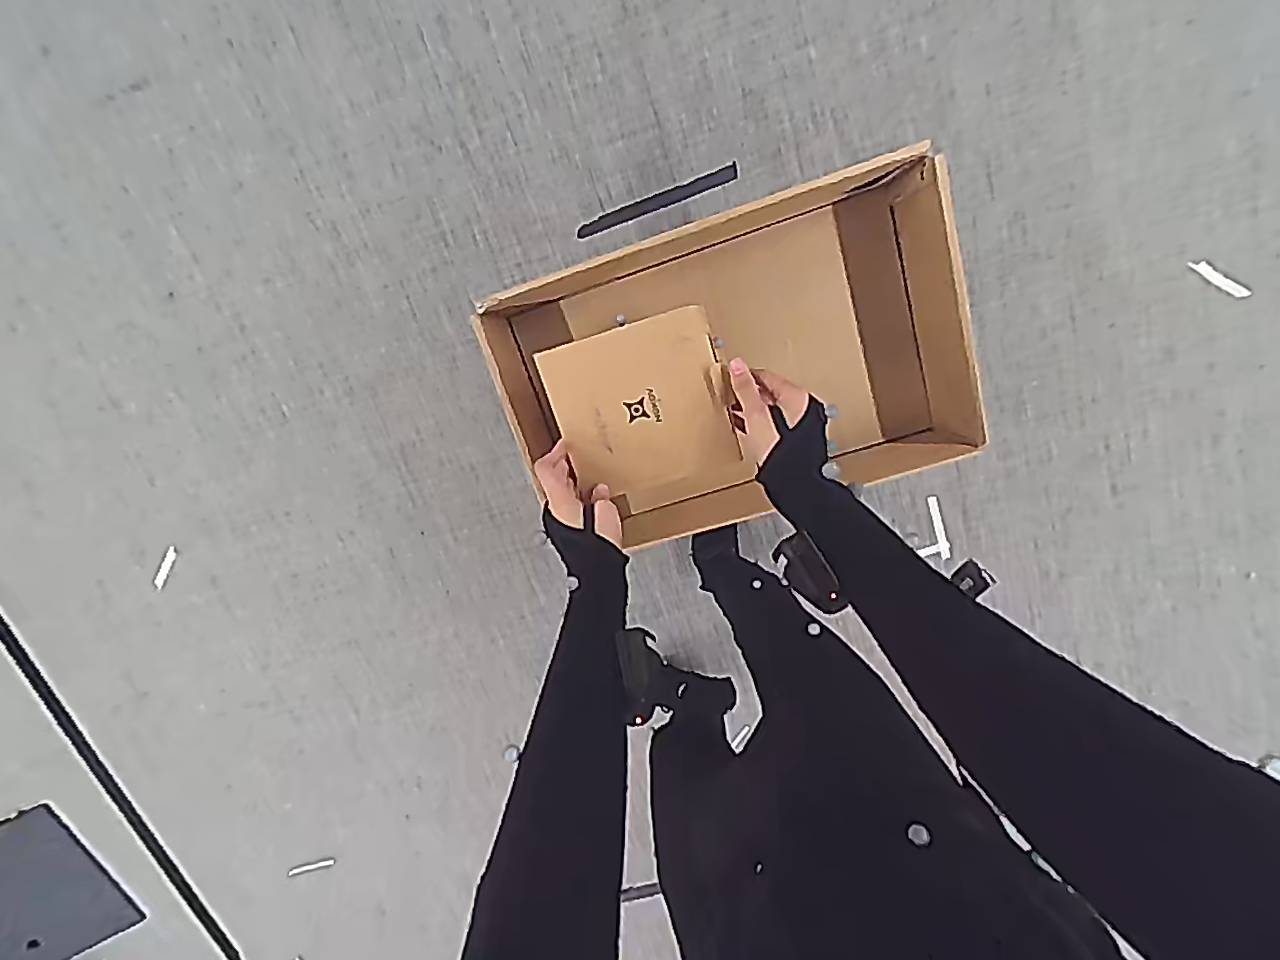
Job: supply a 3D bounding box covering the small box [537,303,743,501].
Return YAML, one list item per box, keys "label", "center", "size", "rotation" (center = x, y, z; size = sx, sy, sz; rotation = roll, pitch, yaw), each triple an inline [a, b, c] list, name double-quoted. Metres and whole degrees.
- label: "small box"
  center: [0.005, -0.097, 0.621]
  size: [0.179, 0.176, 0.168]
  rotation: [-16, 104, 7]
